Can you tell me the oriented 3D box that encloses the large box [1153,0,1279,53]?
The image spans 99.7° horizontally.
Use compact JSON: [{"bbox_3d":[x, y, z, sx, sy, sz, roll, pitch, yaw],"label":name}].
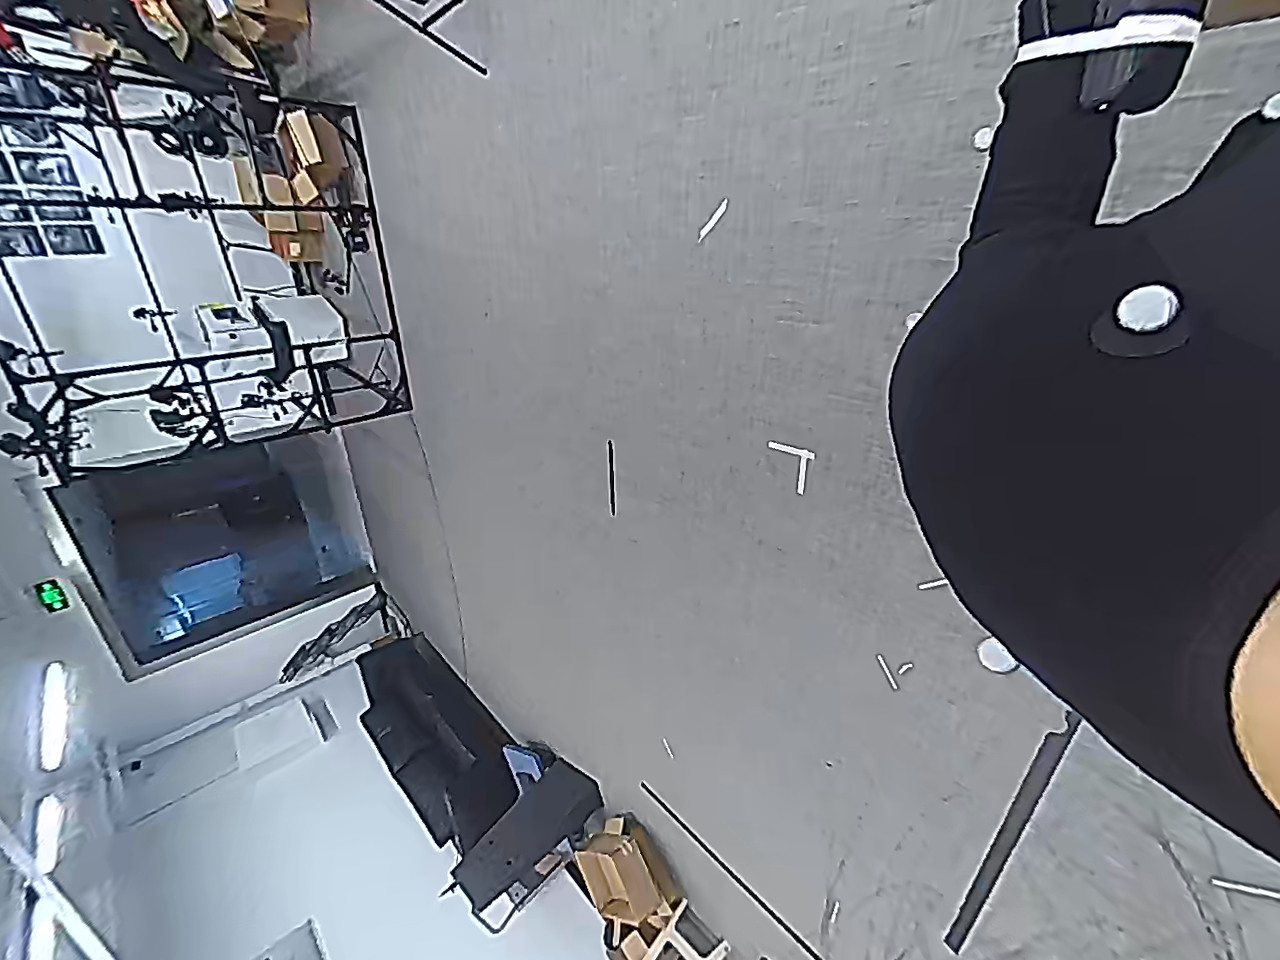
[{"bbox_3d":[0.532,-0.431,0.225,0.408,0.320,0.320,21,127,39],"label":"large box"}]
